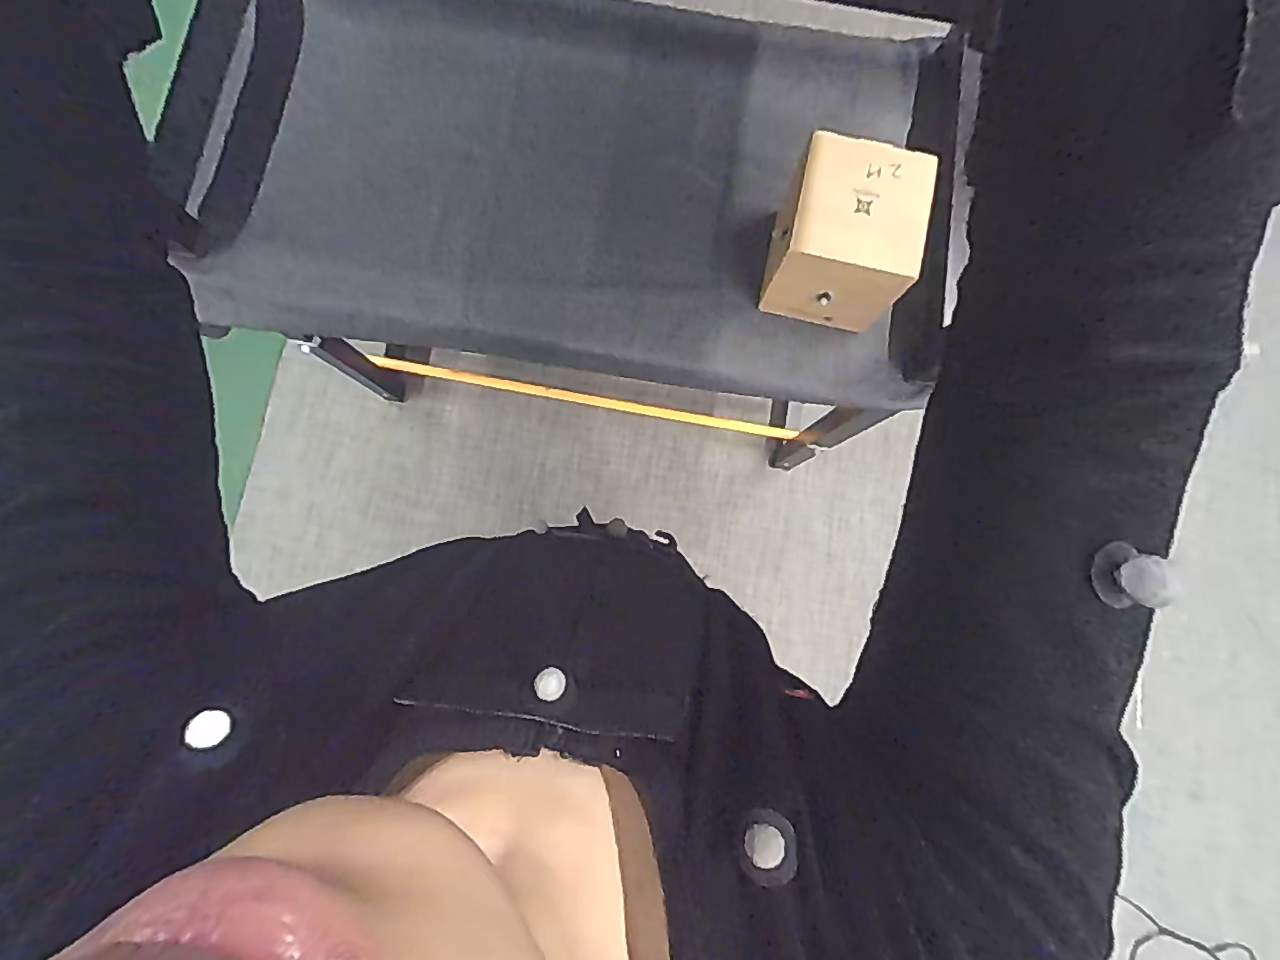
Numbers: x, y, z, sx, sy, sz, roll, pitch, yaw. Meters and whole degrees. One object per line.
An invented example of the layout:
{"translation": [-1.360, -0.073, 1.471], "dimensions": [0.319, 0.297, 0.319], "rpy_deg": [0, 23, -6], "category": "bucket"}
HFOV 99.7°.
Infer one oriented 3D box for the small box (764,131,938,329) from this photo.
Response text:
{"translation": [0.283, -0.337, 0.762], "dimensions": [0.168, 0.176, 0.179], "rpy_deg": [13, 81, 0], "category": "small box"}
